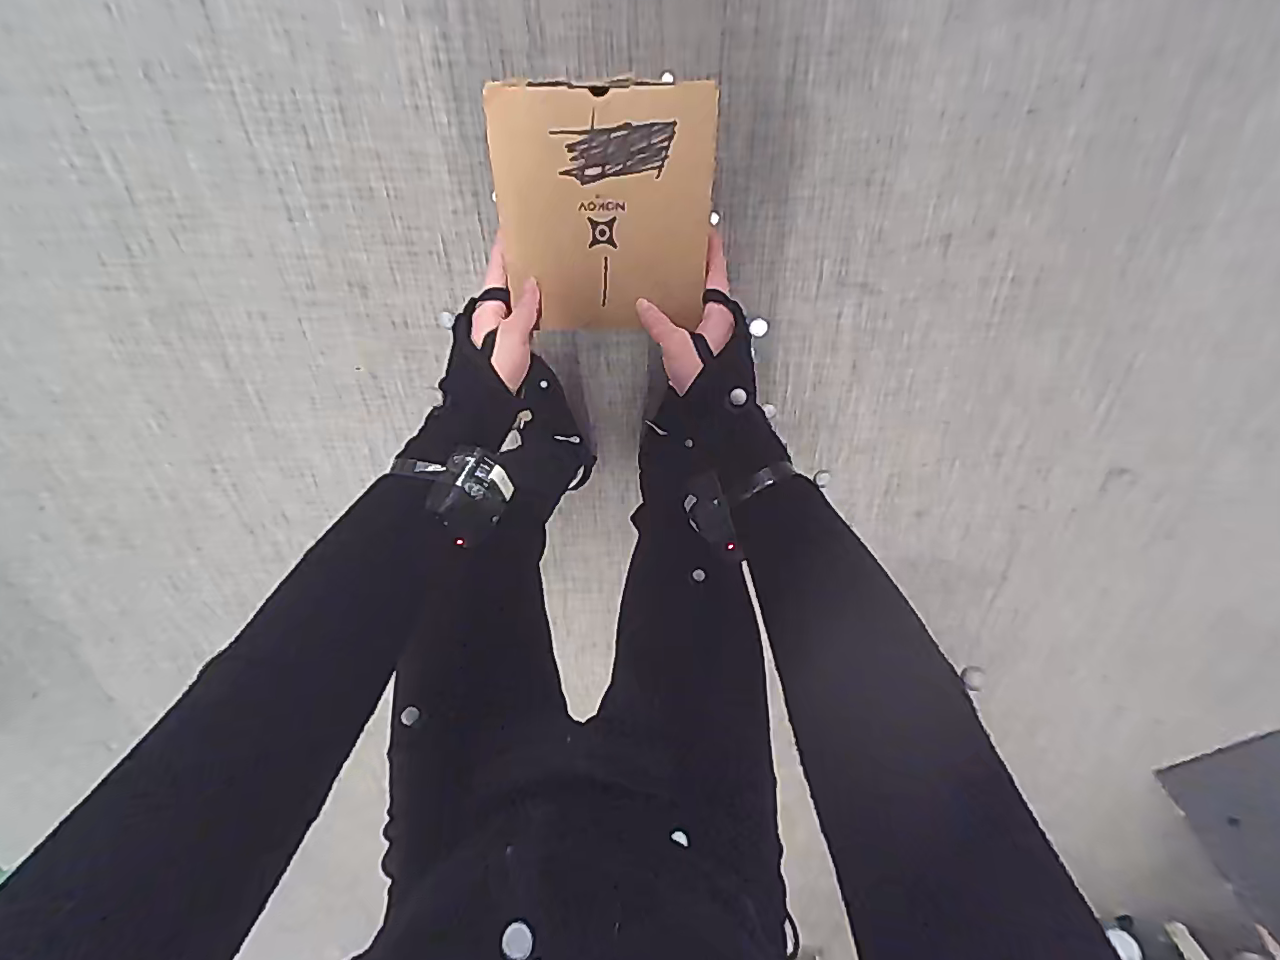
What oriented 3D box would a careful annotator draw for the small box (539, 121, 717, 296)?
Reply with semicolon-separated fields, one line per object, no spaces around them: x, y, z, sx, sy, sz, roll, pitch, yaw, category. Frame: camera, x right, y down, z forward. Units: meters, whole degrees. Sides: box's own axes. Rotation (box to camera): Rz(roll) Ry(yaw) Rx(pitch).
-0.010;-0.318;0.633;0.179;0.176;0.168;-1;122;0;small box
